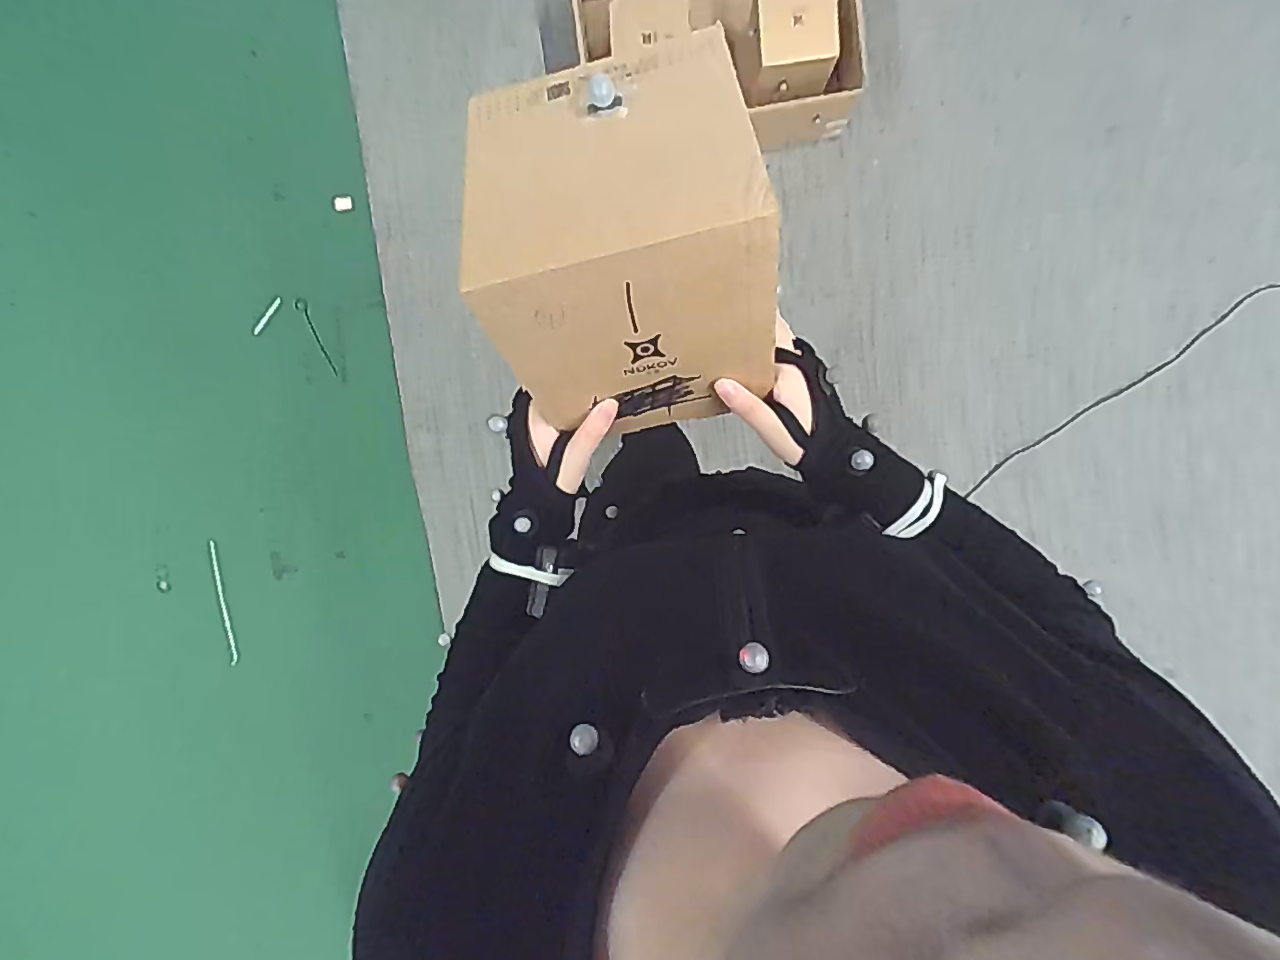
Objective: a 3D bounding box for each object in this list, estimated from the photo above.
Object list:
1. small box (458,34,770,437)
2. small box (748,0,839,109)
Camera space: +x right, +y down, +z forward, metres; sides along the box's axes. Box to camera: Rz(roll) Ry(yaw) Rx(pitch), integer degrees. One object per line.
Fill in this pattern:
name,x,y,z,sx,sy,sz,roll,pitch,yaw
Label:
small box,-0.008,-0.156,0.382,0.168,0.179,0.176,-11,63,8
small box,0.342,-0.977,1.225,0.168,0.176,0.179,-5,95,4
